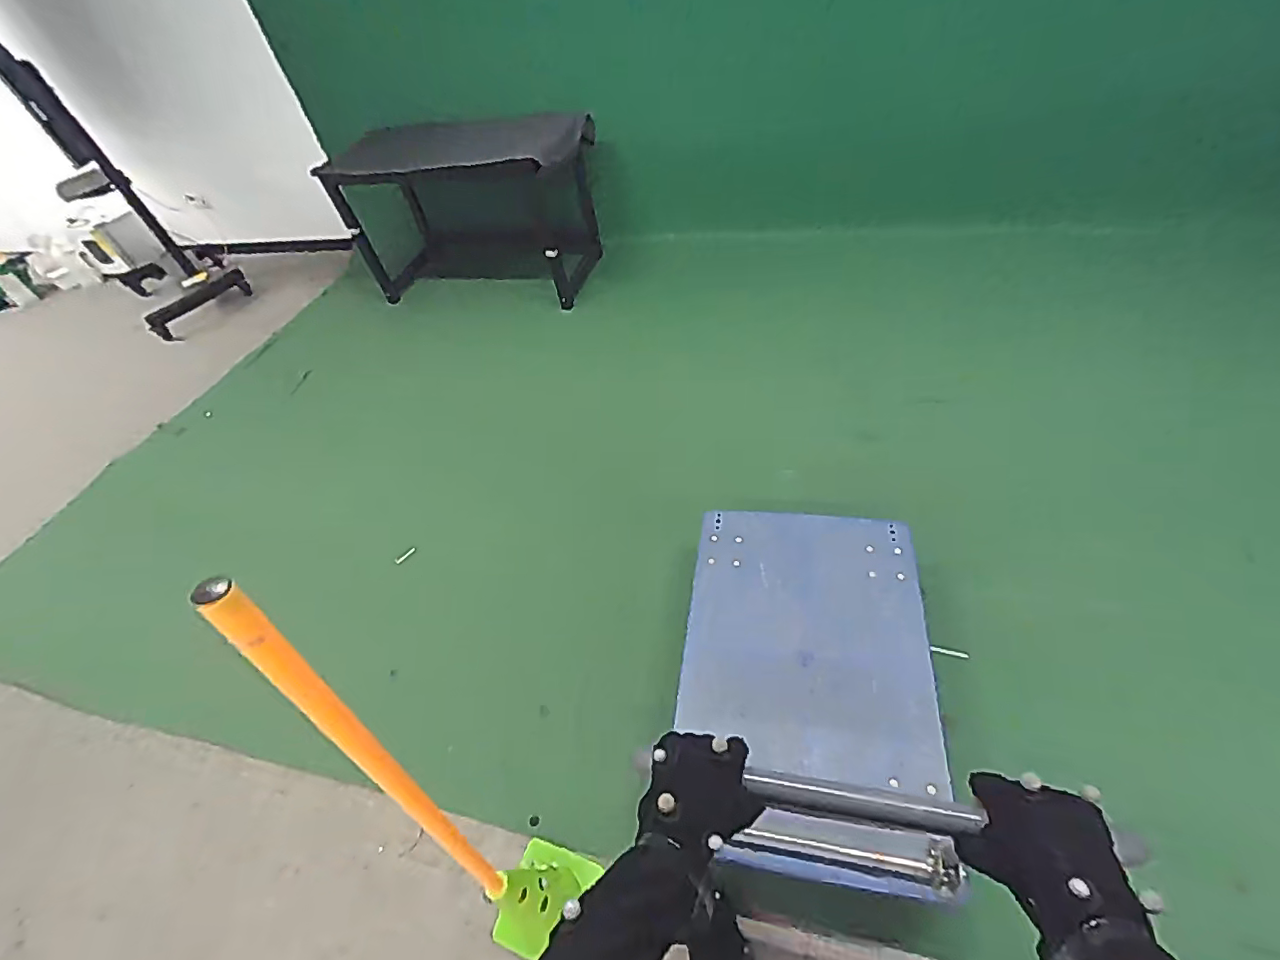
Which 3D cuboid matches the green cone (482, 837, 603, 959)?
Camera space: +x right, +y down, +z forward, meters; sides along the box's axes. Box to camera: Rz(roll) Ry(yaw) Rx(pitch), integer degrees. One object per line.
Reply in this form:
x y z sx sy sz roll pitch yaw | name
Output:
-0.227 0.816 1.077 0.202 0.368 0.200 9 50 19 | green cone
